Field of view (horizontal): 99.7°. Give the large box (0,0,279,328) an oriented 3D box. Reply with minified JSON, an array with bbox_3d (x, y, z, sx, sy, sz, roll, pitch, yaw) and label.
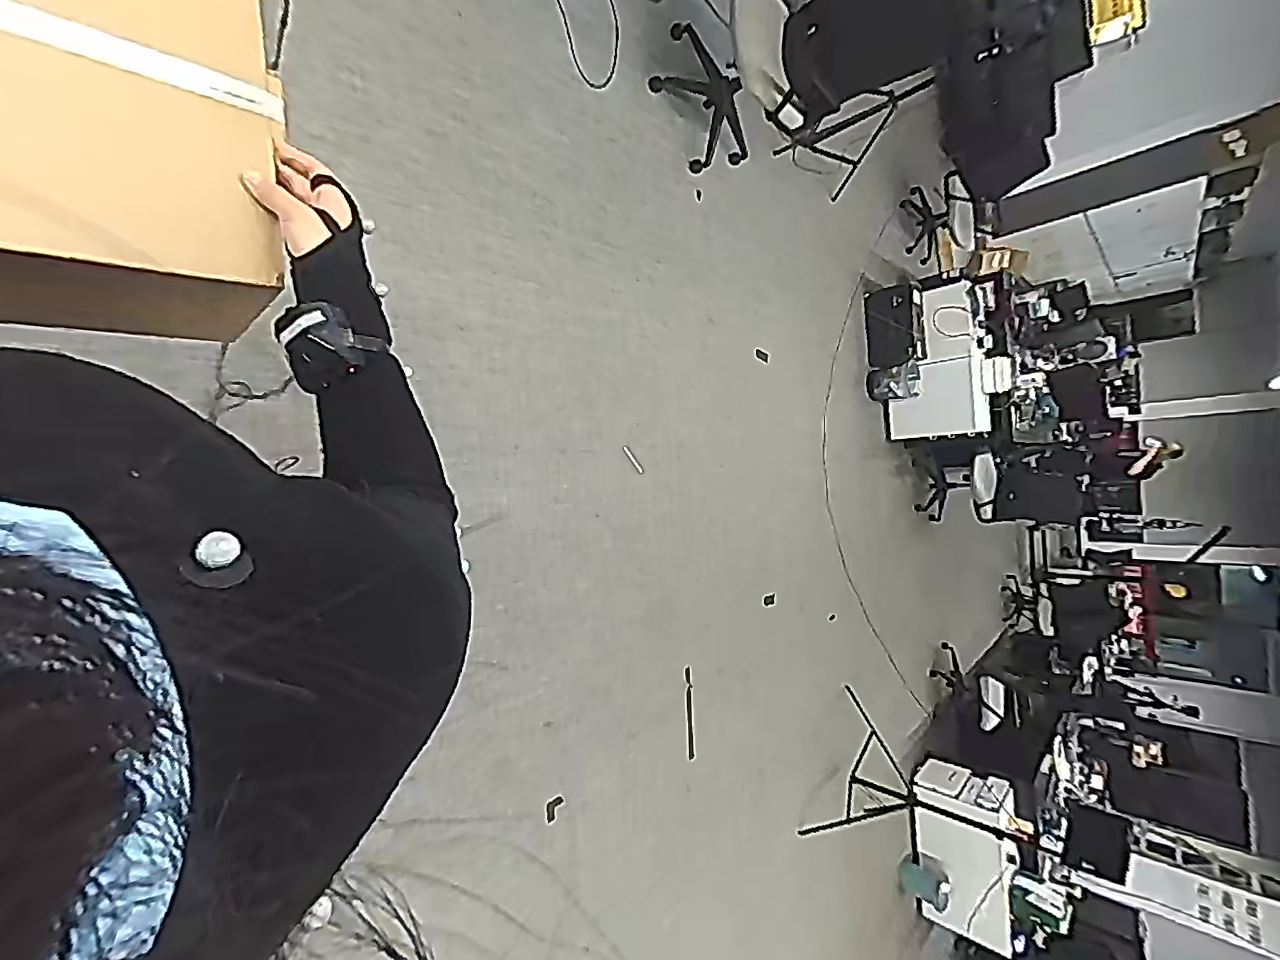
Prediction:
[{"bbox_3d":[-0.580,-0.323,0.455,0.408,0.320,0.320,-6,95,-43],"label":"large box"}]
